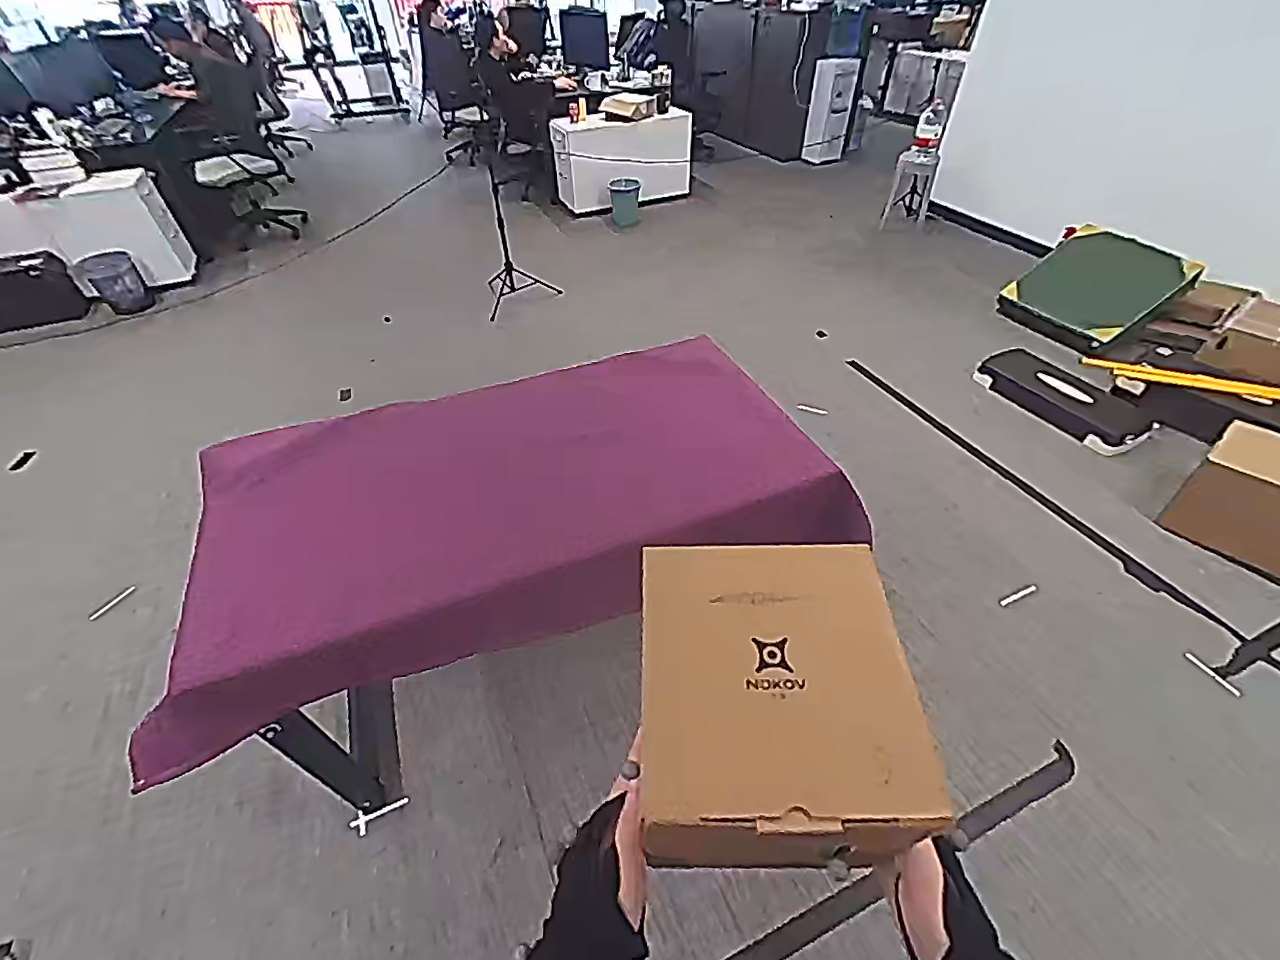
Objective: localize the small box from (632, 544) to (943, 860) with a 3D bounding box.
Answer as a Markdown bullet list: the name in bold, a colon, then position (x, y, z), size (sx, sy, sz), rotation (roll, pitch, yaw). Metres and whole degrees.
- **small box**: position (0.083, 0.166, 0.398), size (0.168, 0.176, 0.179), rotation (-1, 48, 2)
